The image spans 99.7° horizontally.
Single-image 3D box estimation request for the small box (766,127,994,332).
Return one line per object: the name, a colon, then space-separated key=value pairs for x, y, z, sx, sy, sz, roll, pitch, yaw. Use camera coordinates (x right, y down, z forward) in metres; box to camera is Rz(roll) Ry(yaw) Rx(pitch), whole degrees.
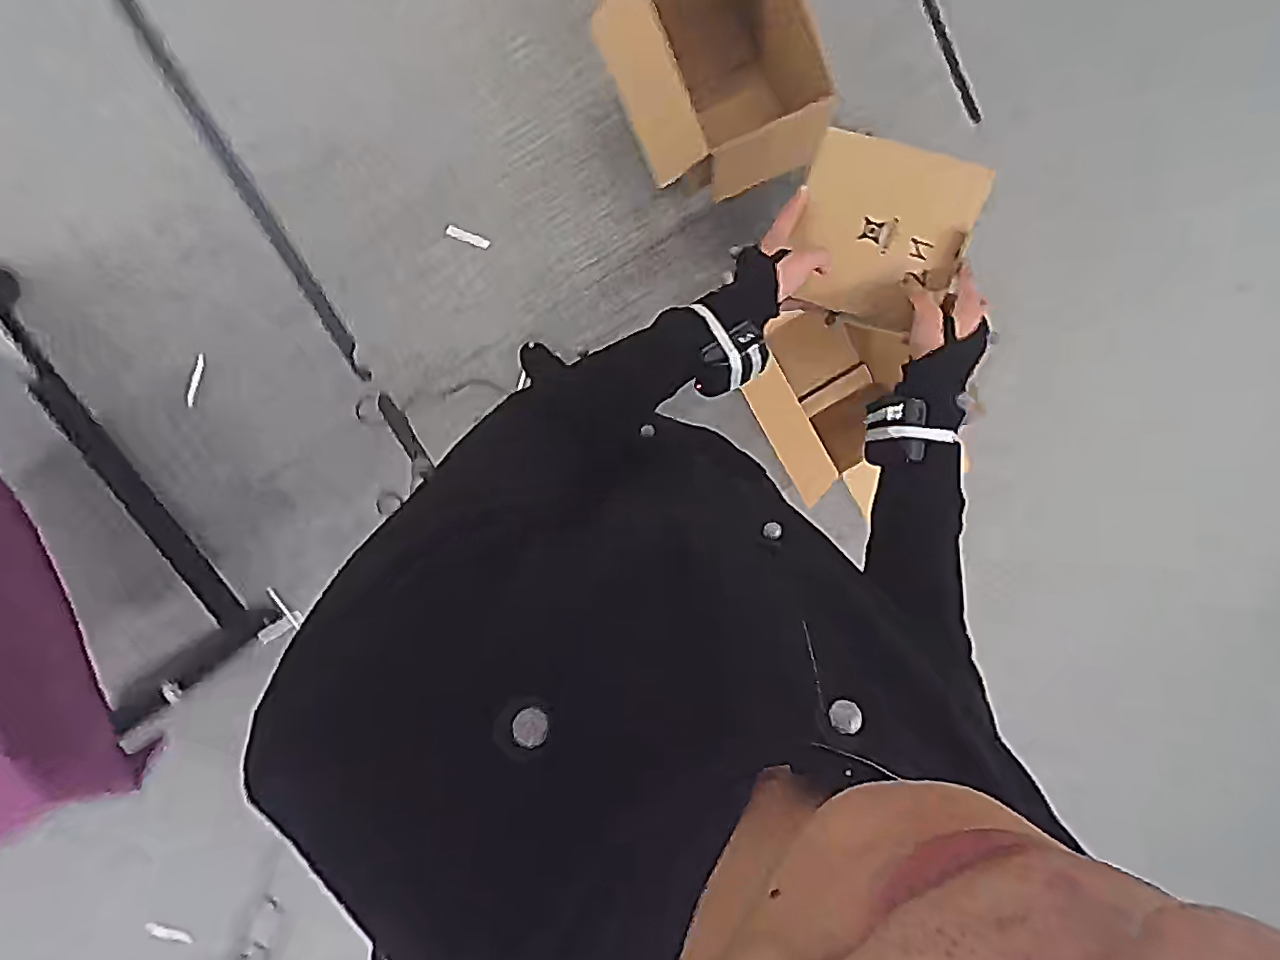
small box: x=0.256 y=-0.276 z=0.634 sx=0.179 sy=0.176 sz=0.168 roll=18 pitch=108 yaw=5
